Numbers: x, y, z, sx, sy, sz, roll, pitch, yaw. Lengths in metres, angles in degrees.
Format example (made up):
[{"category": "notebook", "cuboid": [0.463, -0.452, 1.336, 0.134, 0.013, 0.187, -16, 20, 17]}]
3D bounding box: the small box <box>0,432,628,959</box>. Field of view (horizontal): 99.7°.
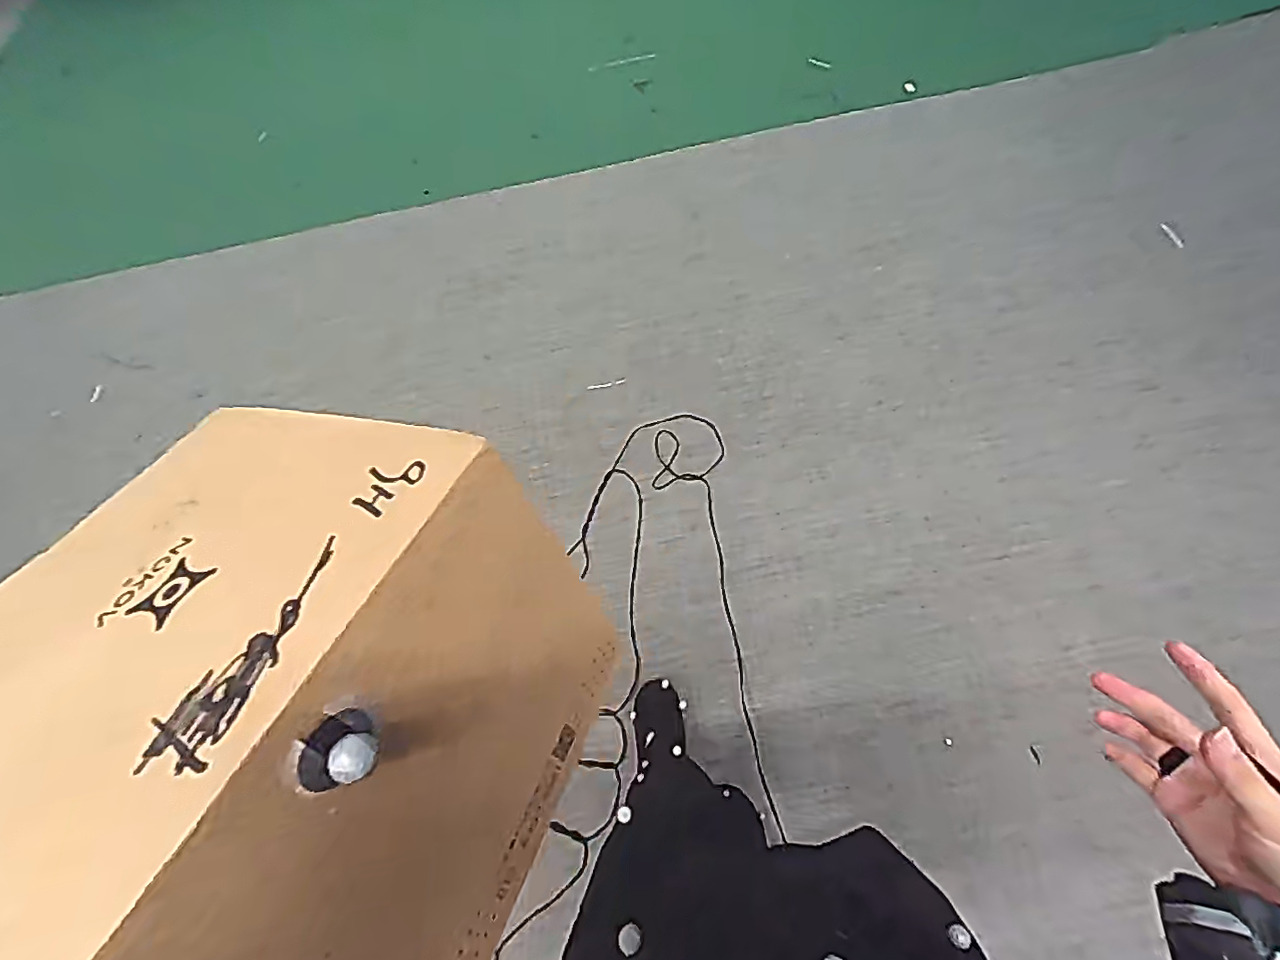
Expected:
[{"category": "small box", "cuboid": [-0.130, 0.098, 0.244, 0.179, 0.176, 0.168, 7, 52, 27]}]
